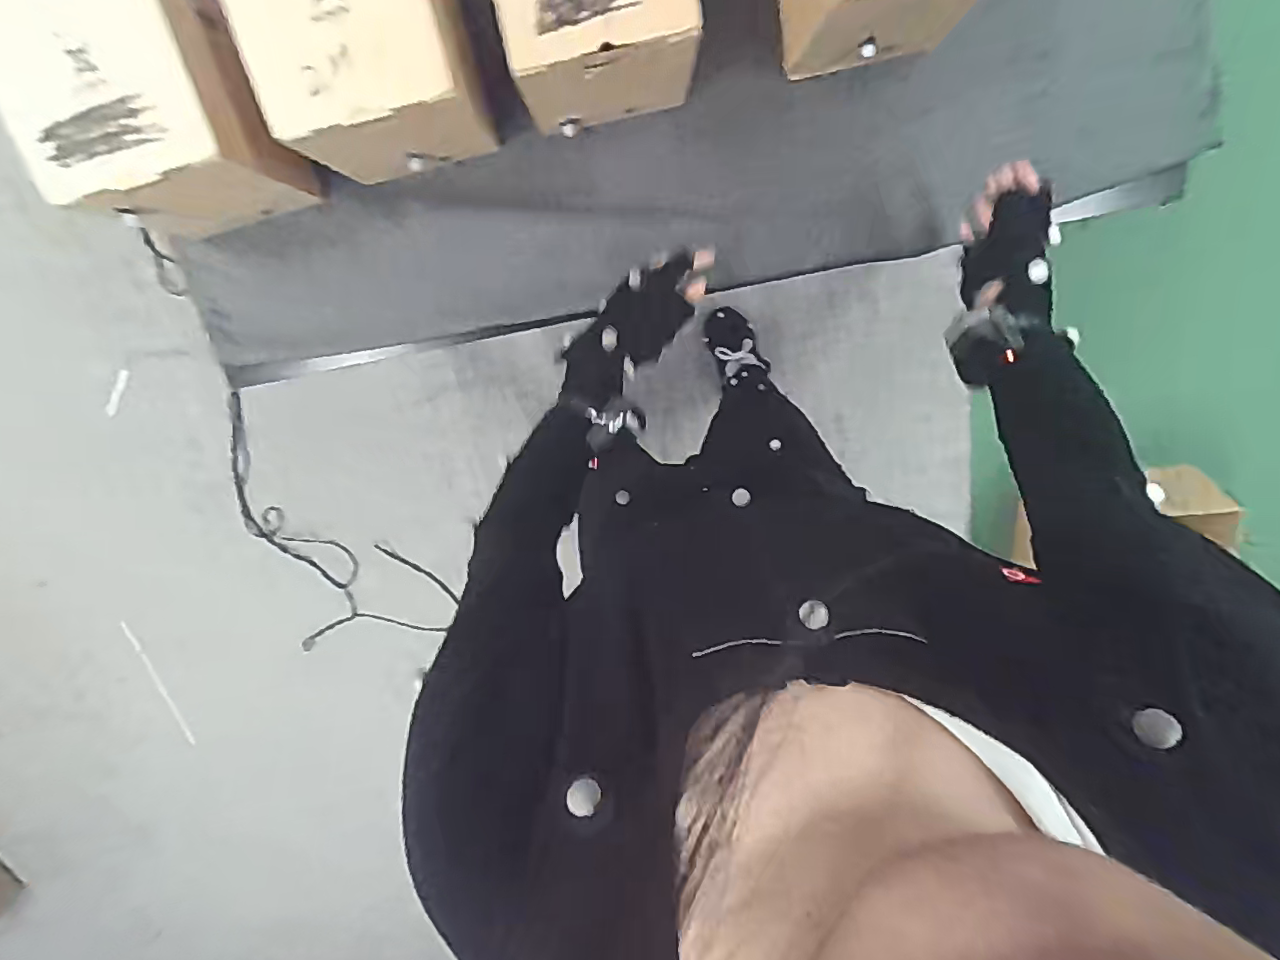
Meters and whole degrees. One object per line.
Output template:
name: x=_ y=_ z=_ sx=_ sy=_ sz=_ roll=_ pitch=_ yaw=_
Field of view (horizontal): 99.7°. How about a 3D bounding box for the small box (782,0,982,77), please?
small box: x=0.231 y=-0.523 z=0.502 sx=0.168 sy=0.176 sz=0.179 roll=-11 pitch=107 yaw=3
